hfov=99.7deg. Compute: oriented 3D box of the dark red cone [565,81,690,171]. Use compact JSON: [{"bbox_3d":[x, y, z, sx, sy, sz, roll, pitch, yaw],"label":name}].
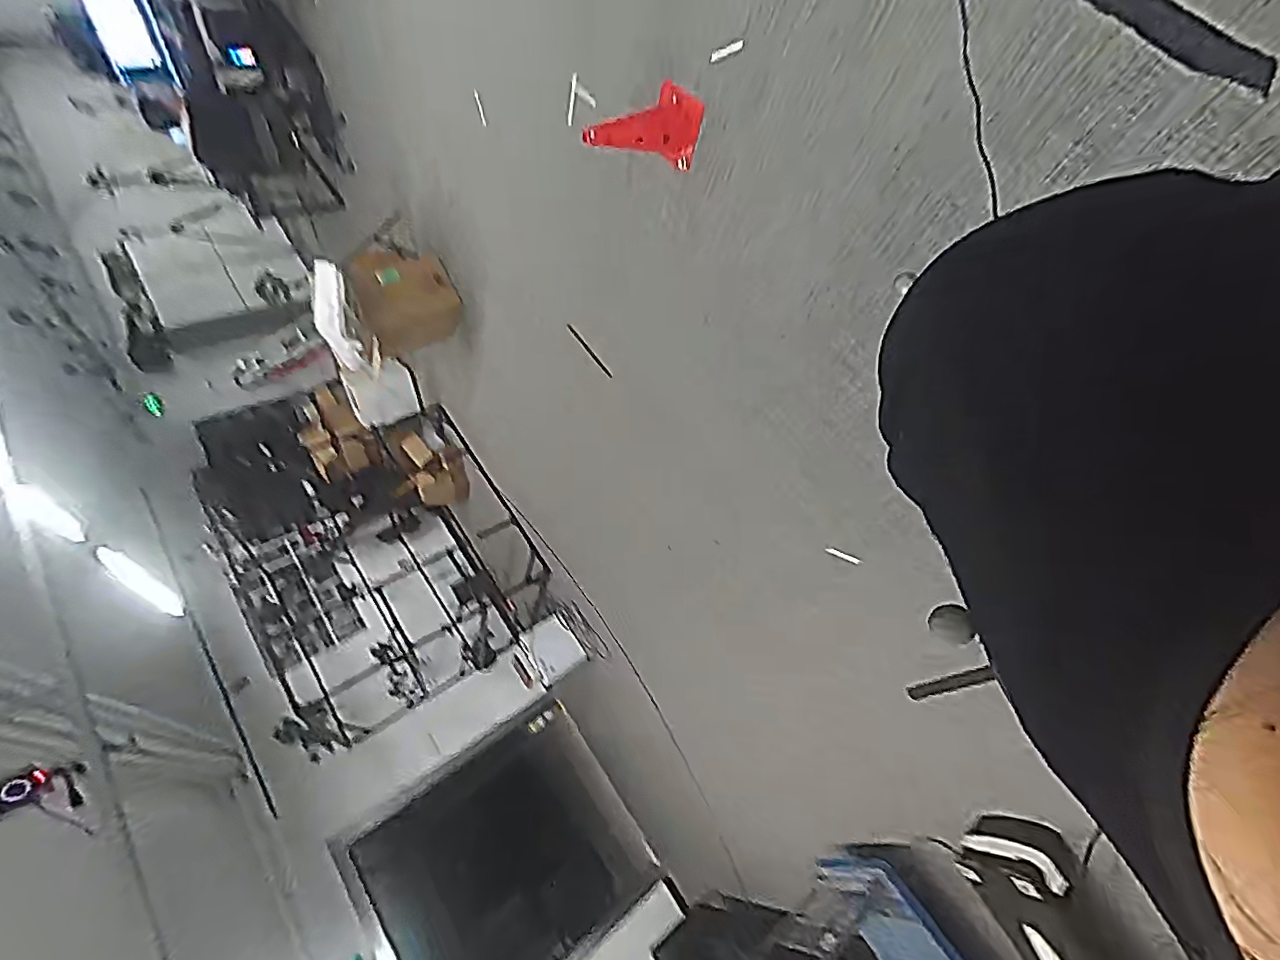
[{"bbox_3d":[-0.050,-1.050,1.619,0.202,0.394,0.201,49,146,23],"label":"dark red cone"}]
